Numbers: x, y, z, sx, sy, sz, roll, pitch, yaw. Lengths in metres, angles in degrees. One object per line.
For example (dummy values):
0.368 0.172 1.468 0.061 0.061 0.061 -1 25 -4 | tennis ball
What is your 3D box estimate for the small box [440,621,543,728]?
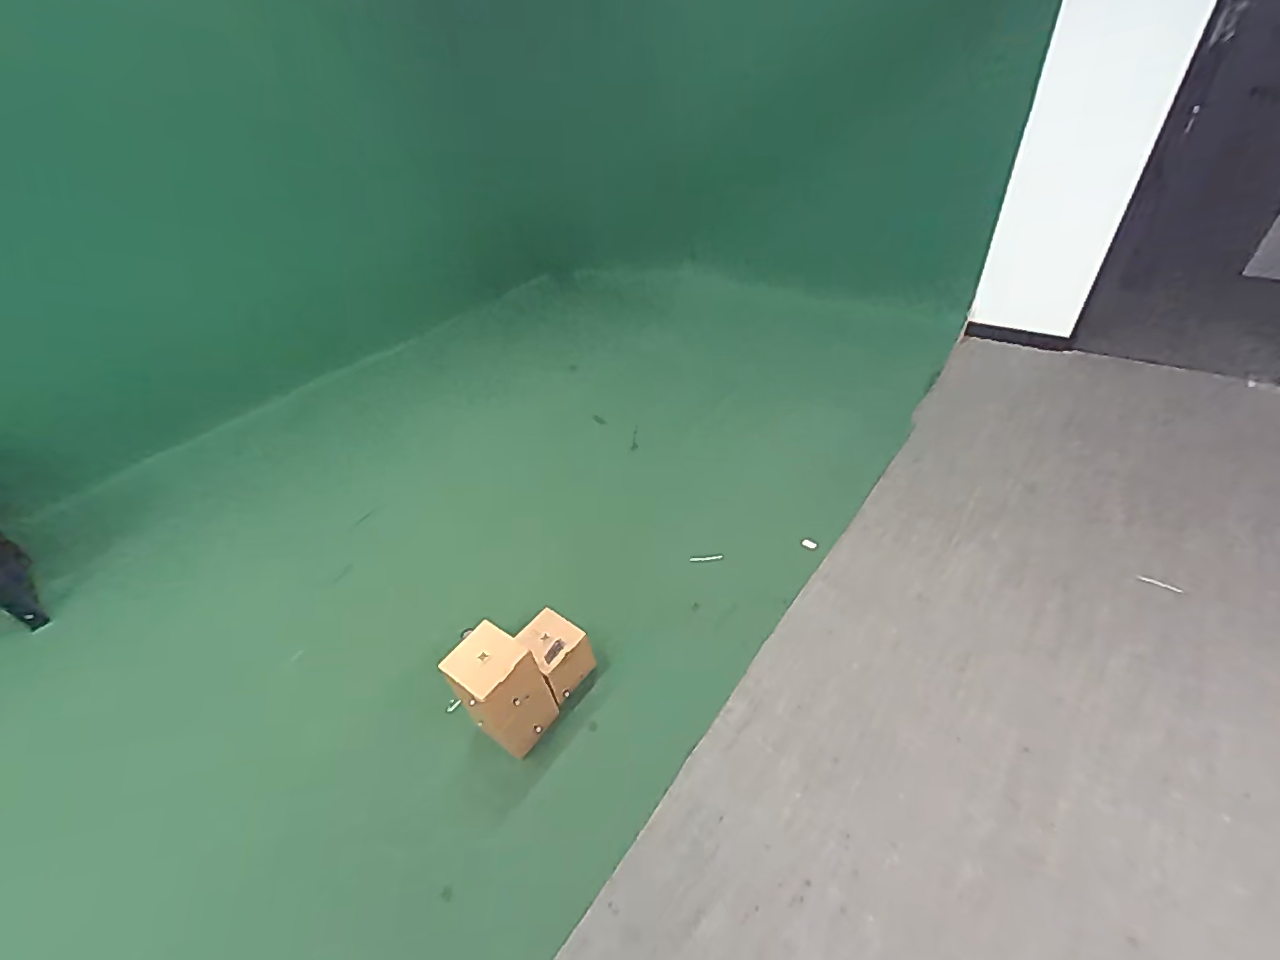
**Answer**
-0.380 0.510 1.412 0.179 0.176 0.168 21 48 30 | small box
